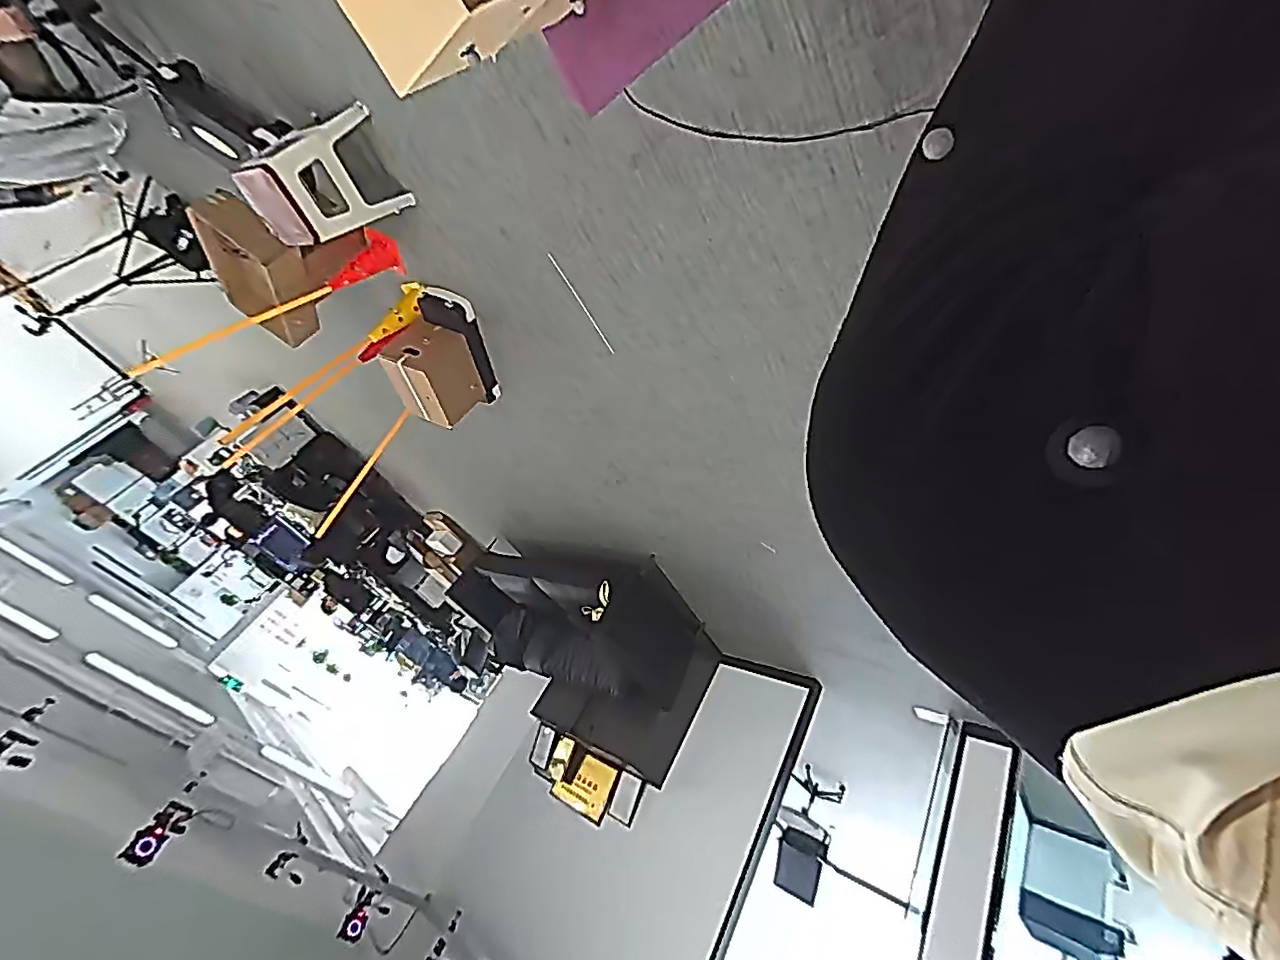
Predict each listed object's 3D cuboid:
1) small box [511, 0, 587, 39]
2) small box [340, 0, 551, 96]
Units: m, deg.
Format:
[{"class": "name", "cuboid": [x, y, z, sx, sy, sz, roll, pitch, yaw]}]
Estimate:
[{"class": "small box", "cuboid": [-0.135, -0.672, 0.644, 0.168, 0.176, 0.179, 0, 134, 45]}, {"class": "small box", "cuboid": [-0.211, -0.554, 0.562, 0.168, 0.176, 0.179, 1, 134, 45]}]
